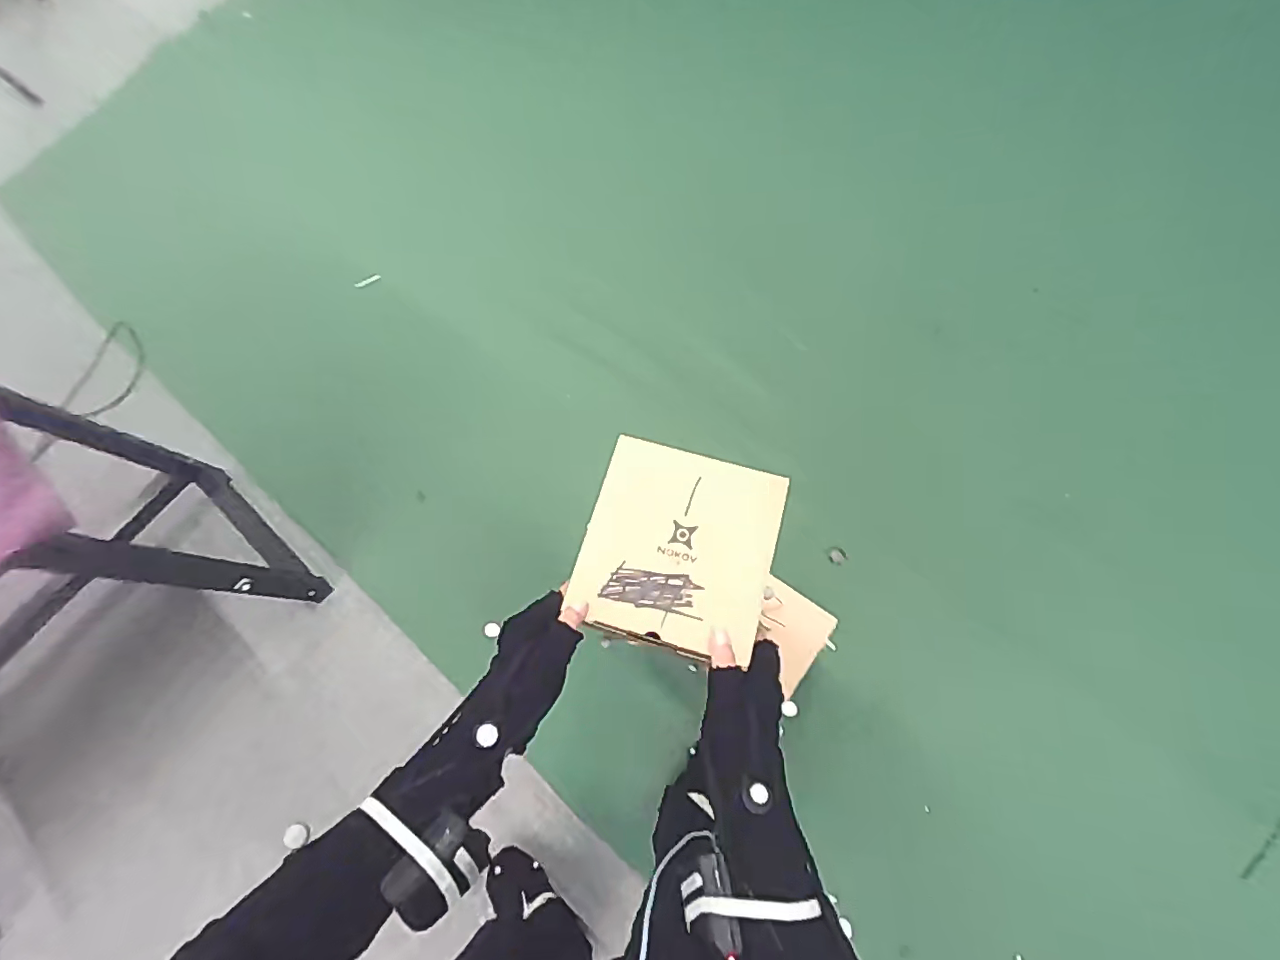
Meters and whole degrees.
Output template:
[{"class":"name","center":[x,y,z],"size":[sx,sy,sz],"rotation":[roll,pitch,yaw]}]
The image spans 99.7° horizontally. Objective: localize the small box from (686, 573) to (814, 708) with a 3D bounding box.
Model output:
[{"class":"small box","center":[0.205,0.303,1.038],"size":[0.168,0.176,0.179],"rotation":[34,81,16]}]
